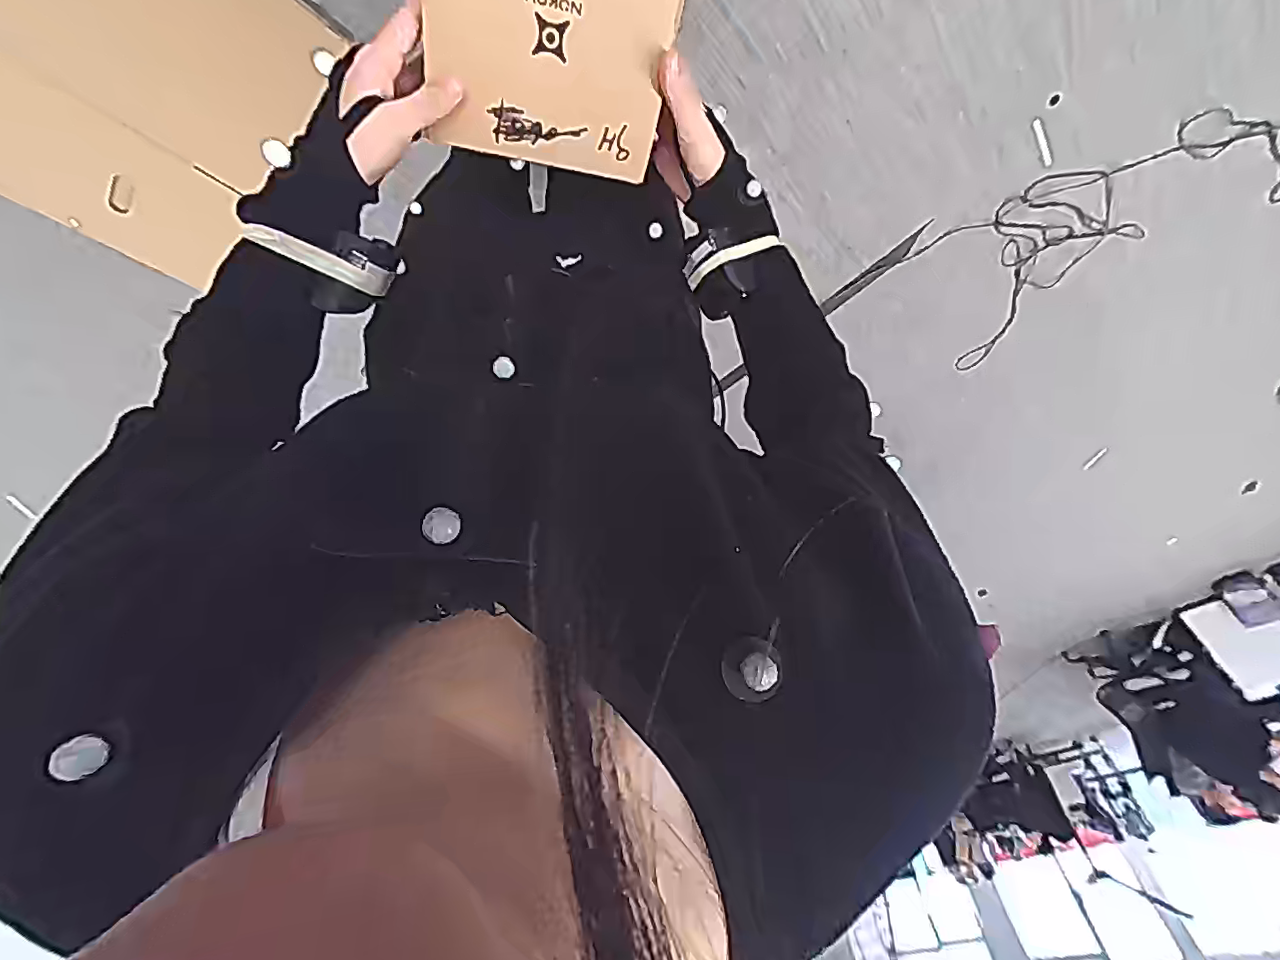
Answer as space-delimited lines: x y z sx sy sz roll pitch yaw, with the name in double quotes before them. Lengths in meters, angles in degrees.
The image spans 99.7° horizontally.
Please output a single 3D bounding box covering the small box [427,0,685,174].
"small box" -0.064 -0.367 0.404 0.168 0.176 0.179 3 138 -14
